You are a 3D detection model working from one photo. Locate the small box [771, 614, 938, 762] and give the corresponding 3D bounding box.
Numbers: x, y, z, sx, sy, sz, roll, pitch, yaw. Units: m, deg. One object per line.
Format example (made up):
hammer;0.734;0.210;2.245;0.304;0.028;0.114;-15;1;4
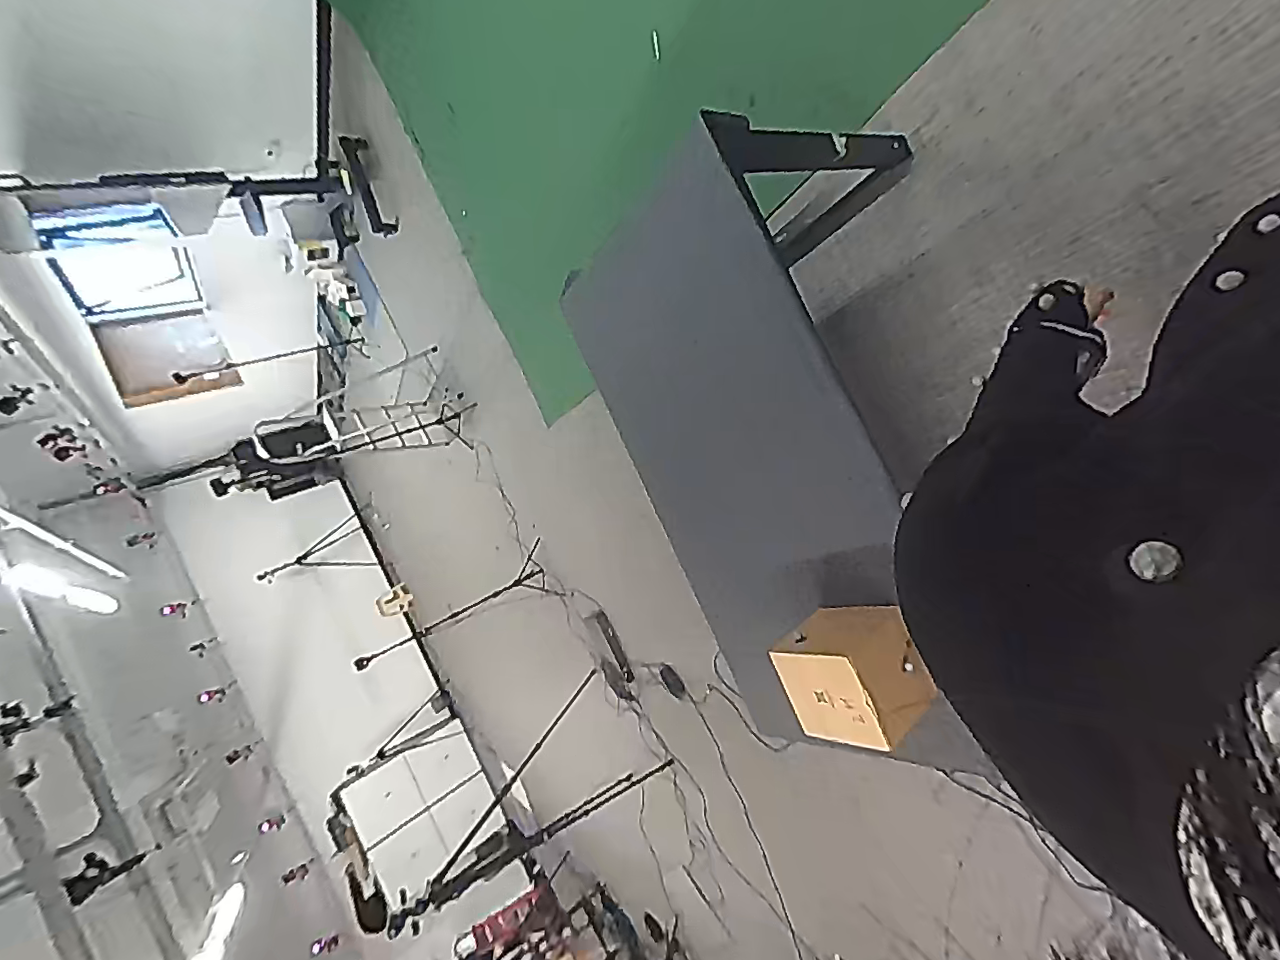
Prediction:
small box;0.366;0.343;0.926;0.179;0.176;0.168;-24;91;54
